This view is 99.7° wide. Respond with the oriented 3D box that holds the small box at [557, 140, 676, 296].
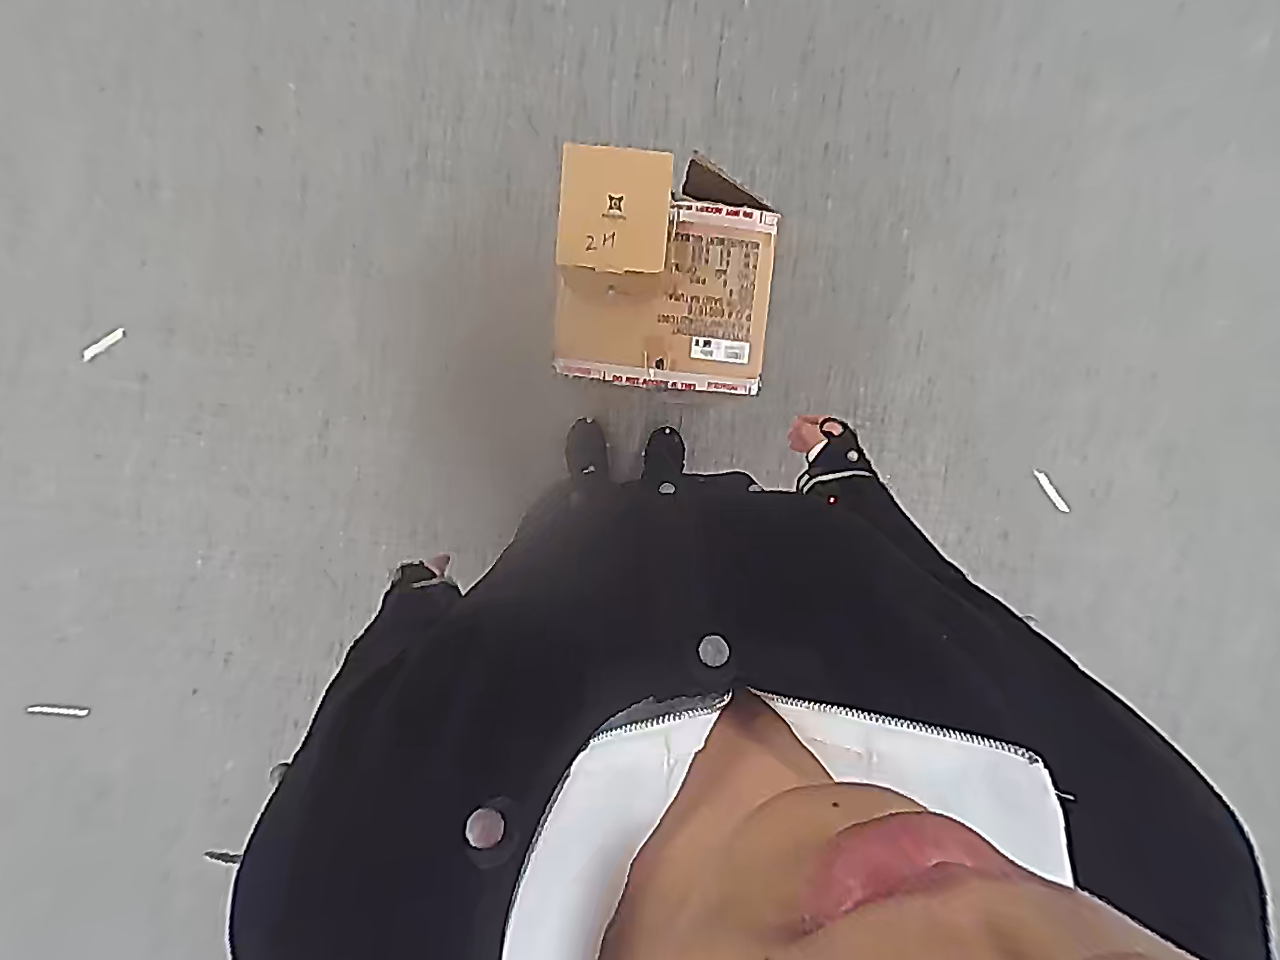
[{"bbox_3d":[-0.037,-0.414,0.880,0.168,0.176,0.179,5,98,-1],"label":"small box"}]
